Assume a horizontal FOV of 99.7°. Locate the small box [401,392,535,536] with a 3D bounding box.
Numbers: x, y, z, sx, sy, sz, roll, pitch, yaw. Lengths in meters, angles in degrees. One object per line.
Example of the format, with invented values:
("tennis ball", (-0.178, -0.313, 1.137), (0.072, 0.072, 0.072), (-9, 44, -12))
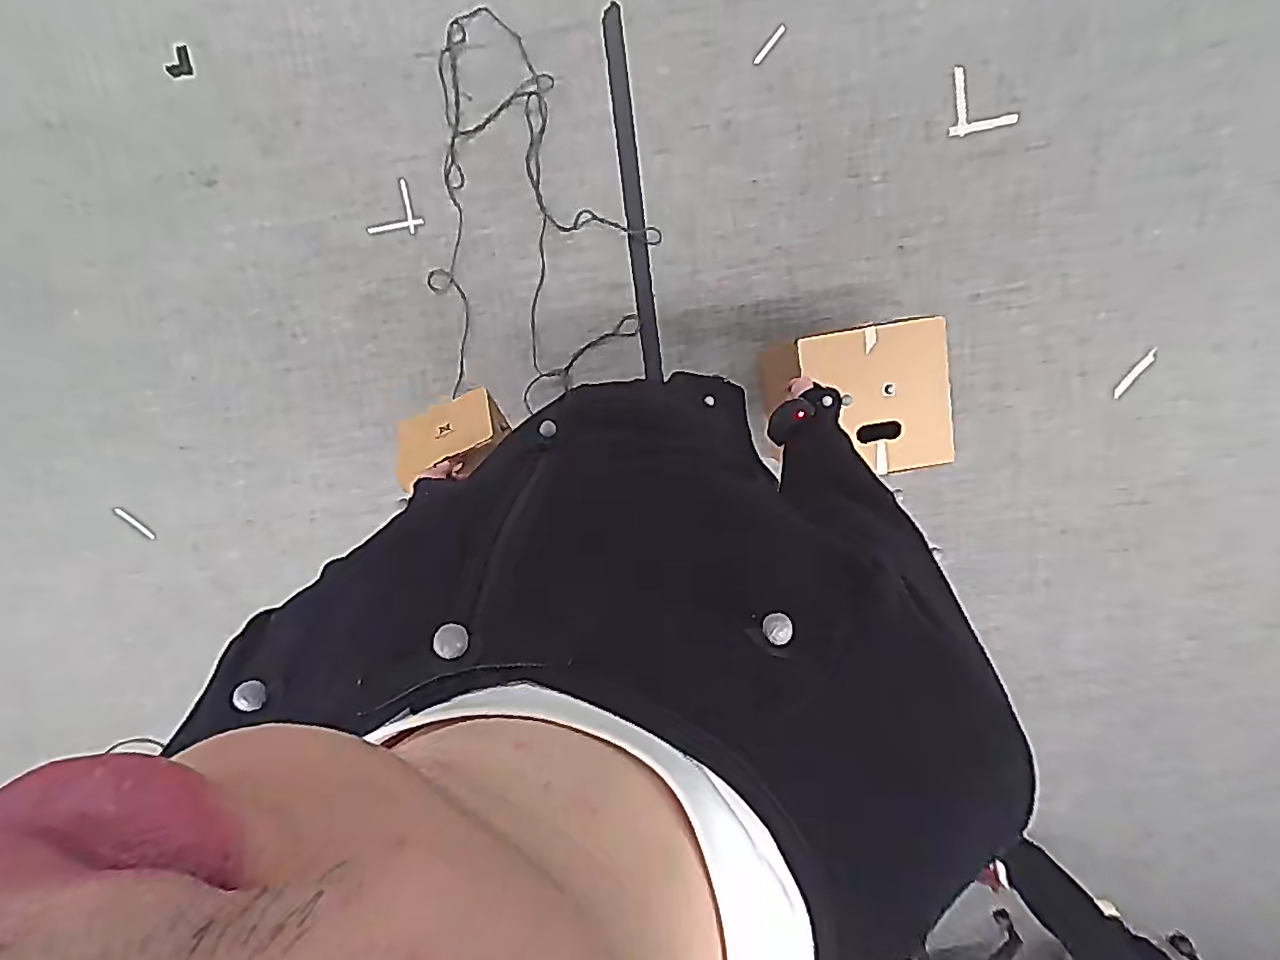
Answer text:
("small box", (-0.302, -0.022, 0.968), (0.168, 0.179, 0.176), (-24, 130, -2))
